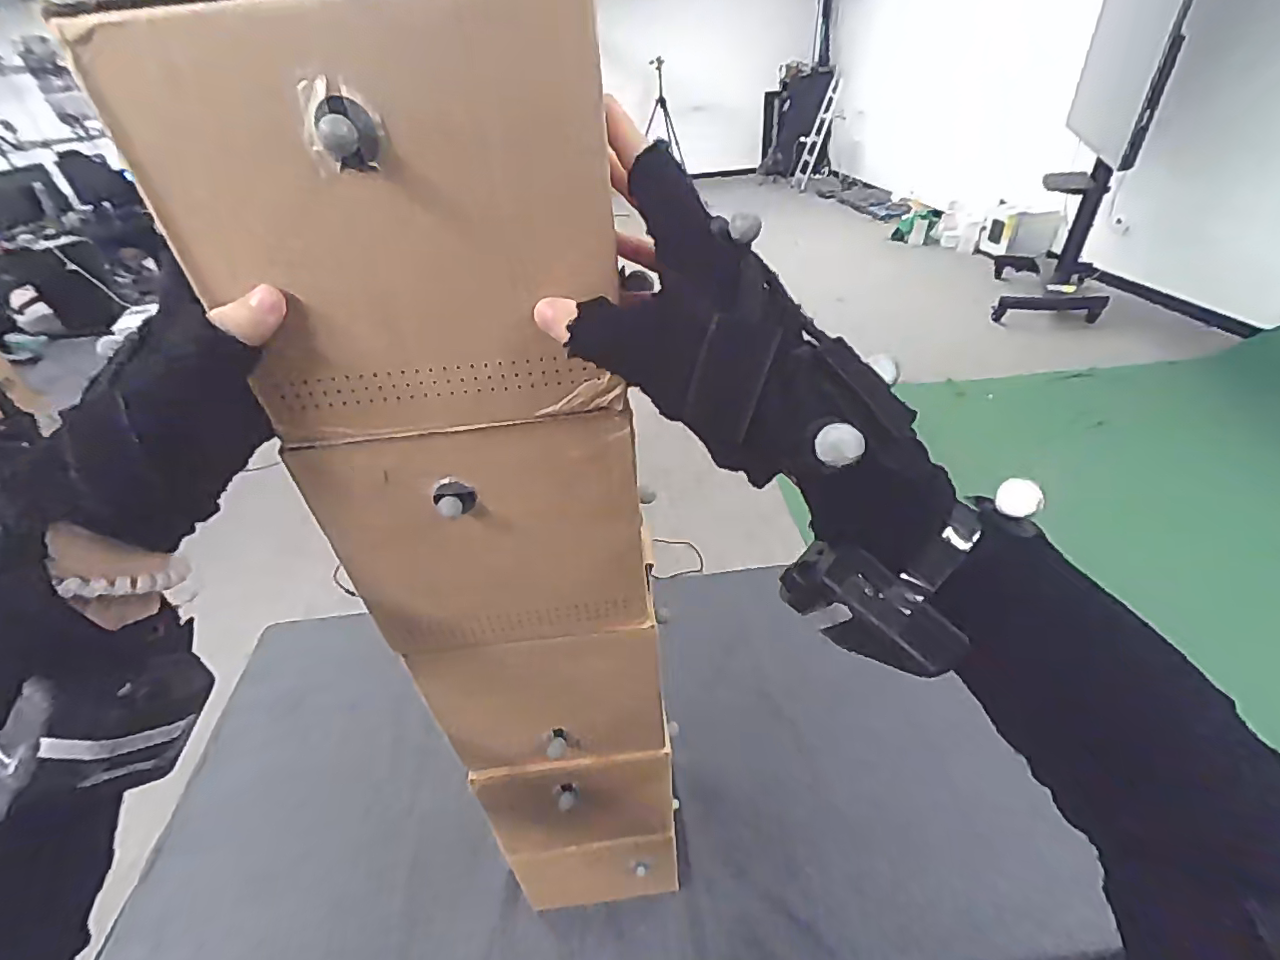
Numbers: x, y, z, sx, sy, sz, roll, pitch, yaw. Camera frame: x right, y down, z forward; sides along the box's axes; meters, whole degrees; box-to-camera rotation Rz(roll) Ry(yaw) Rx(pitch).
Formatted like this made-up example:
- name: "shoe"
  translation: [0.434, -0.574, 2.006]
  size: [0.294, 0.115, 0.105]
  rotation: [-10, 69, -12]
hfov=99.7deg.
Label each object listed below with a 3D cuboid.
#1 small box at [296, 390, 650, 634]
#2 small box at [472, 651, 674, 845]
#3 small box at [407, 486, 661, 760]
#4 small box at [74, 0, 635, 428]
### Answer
- name: "small box"
  translation: [-0.091, -0.009, 0.385]
  size: [0.179, 0.176, 0.168]
  rotation: [-6, 38, -2]
- name: "small box"
  translation: [-0.061, 0.257, 0.575]
  size: [0.179, 0.176, 0.168]
  rotation: [-7, 37, -3]
- name: "small box"
  translation: [-0.074, 0.123, 0.481]
  size: [0.179, 0.176, 0.168]
  rotation: [-5, 36, -1]
- name: "small box"
  translation: [-0.099, -0.139, 0.287]
  size: [0.179, 0.176, 0.168]
  rotation: [-5, 38, -1]
